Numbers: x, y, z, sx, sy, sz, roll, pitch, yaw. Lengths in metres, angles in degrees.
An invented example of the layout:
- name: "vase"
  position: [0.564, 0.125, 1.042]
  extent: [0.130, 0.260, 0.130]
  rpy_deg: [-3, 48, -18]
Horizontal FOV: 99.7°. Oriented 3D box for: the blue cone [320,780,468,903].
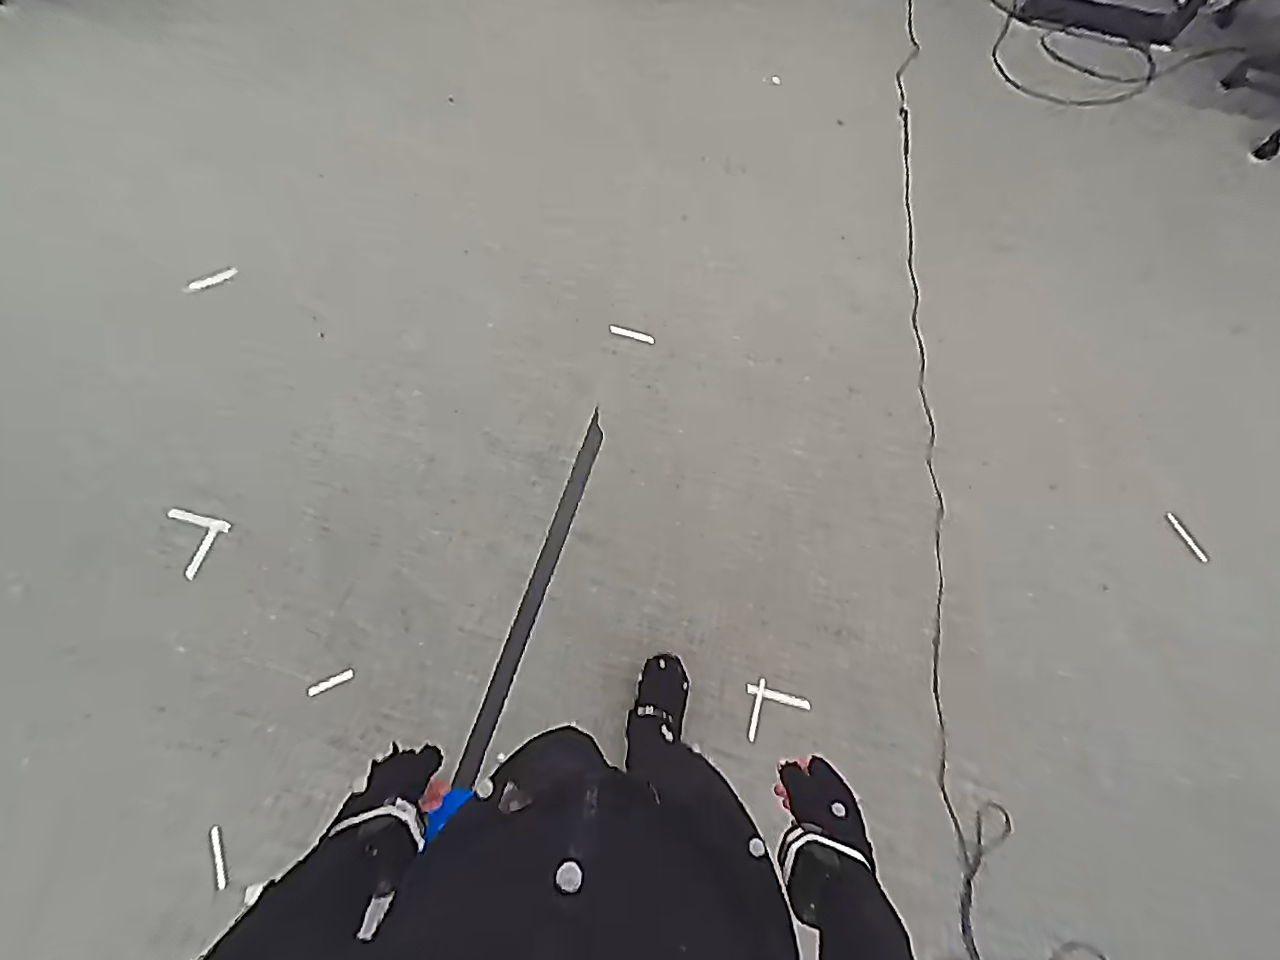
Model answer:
- name: "blue cone"
  position: [-0.483, 0.719, 1.032]
  extent: [0.192, 0.380, 0.193]
  rpy_deg: [13, 70, 5]
